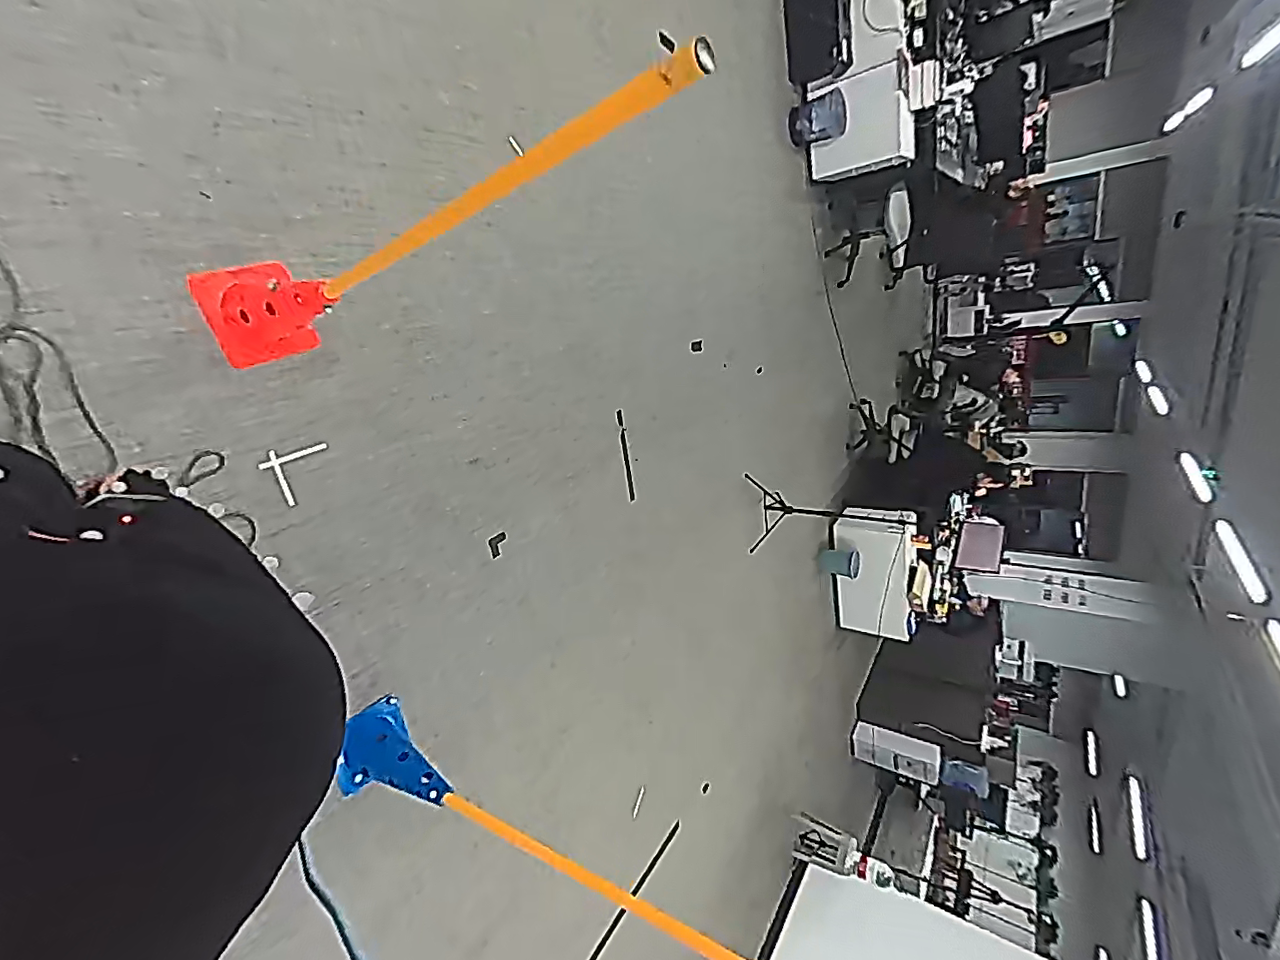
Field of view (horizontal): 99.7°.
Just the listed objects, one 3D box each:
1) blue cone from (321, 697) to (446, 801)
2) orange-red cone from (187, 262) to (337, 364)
[{"bbox_3d":[-0.605,0.716,1.350,0.193,0.380,0.192,-28,114,-49],"label":"blue cone"},{"bbox_3d":[-0.706,-0.358,1.082,0.199,0.360,0.198,-37,121,-44],"label":"orange-red cone"}]
